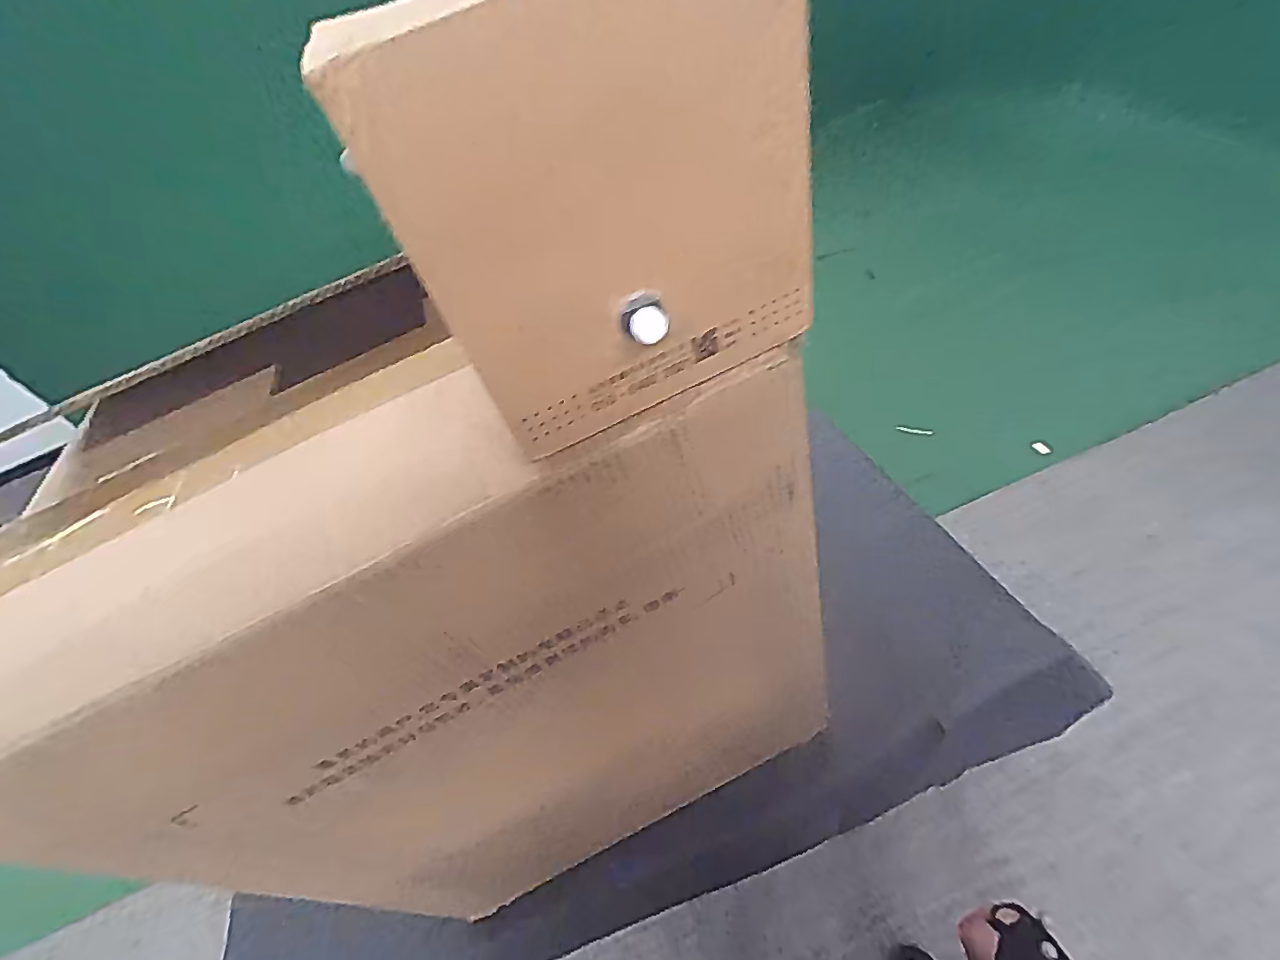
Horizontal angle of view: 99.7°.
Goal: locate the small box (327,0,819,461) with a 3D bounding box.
[{"bbox_3d":[-0.028,-0.142,0.280,0.168,0.176,0.179,-26,47,-5],"label":"small box"}]
